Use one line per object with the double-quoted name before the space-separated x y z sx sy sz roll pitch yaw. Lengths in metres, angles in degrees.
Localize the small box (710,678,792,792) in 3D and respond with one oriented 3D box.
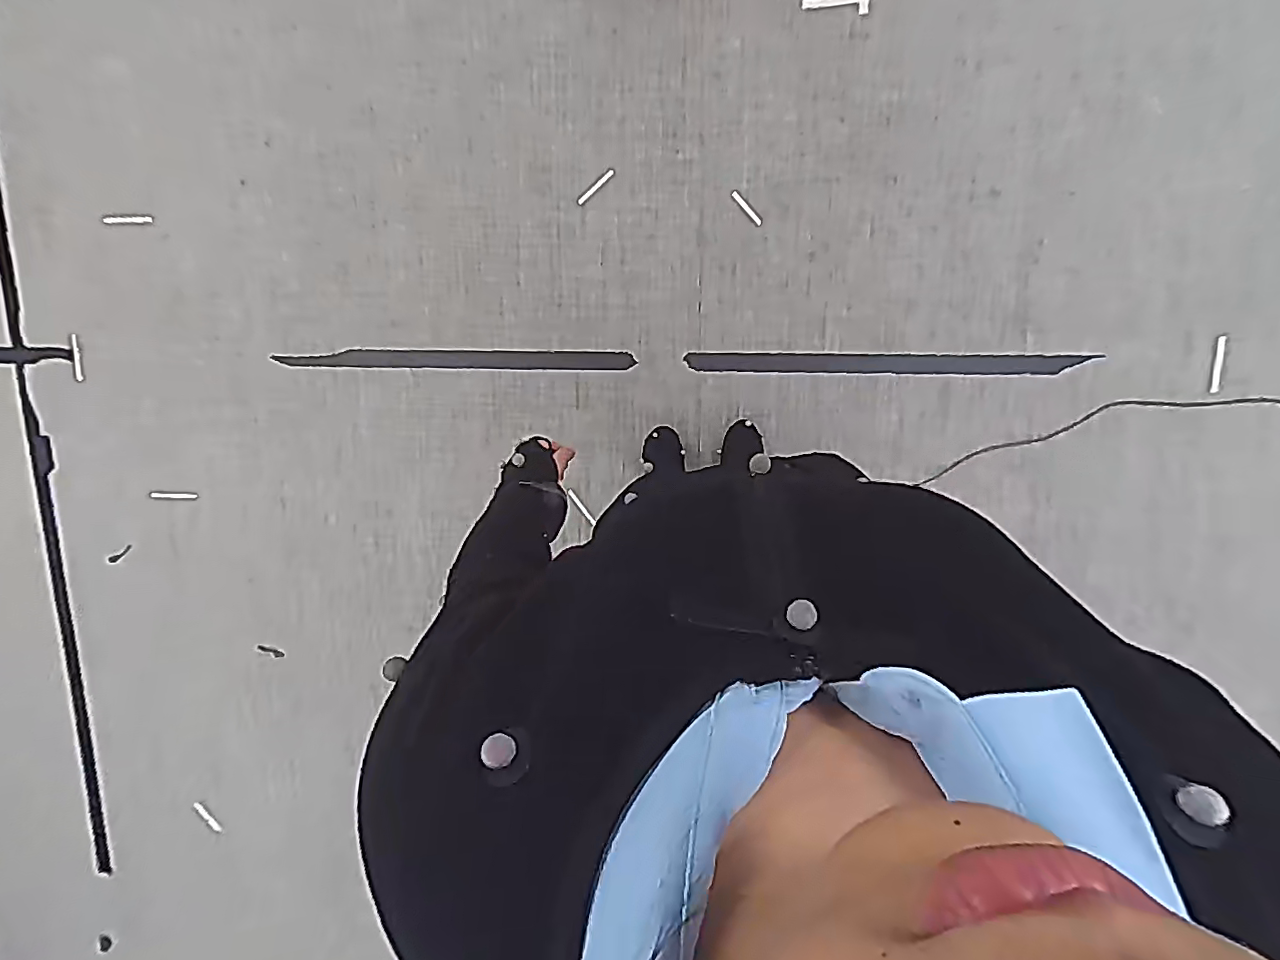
"small box" 0.256 0.598 1.282 0.168 0.176 0.179 3 97 4
